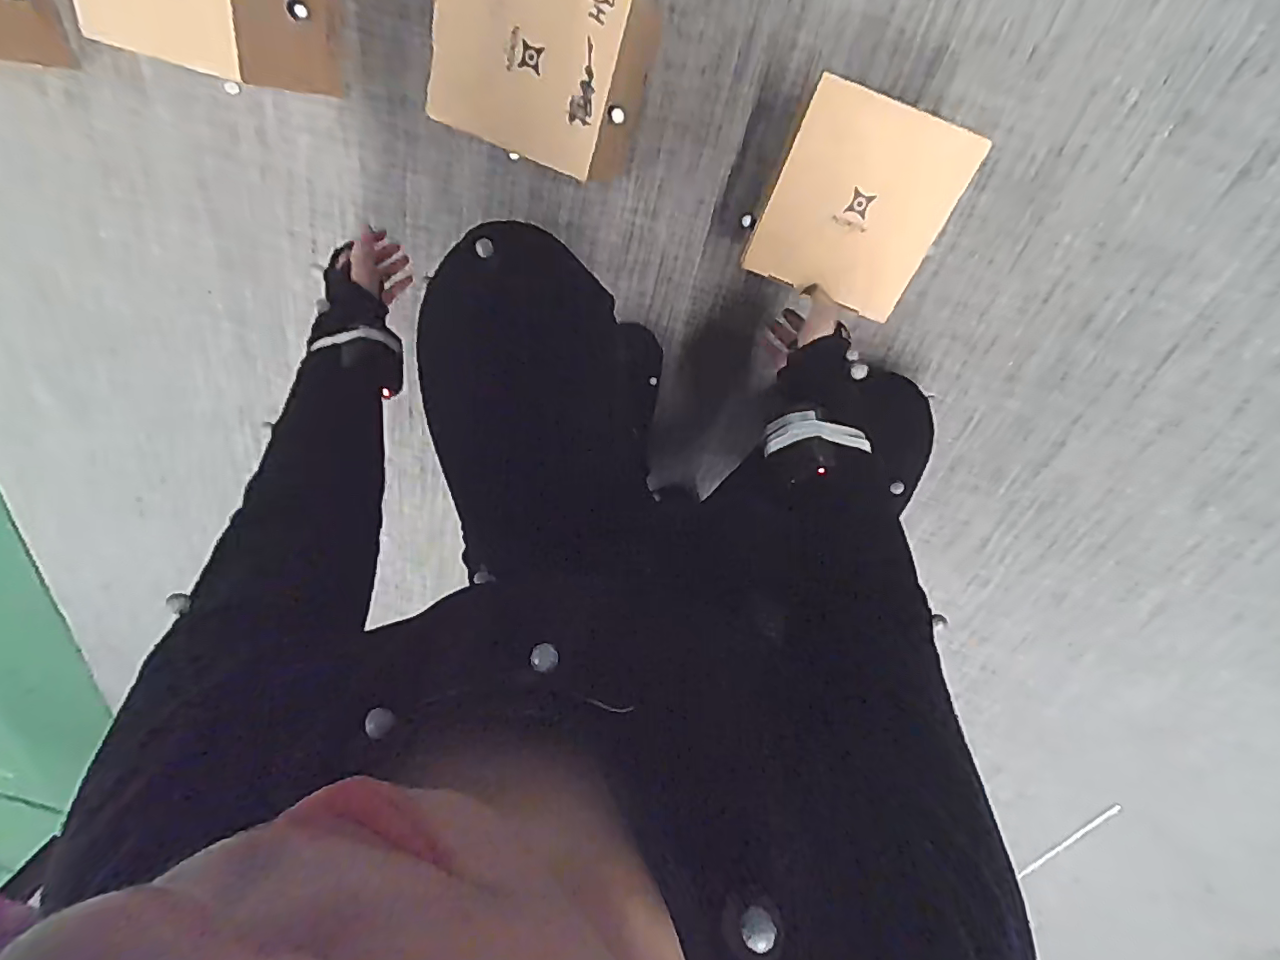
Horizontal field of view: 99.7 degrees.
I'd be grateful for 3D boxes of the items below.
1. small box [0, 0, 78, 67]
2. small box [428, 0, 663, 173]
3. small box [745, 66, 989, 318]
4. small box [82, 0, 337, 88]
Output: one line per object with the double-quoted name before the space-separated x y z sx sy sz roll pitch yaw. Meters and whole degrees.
"small box" -0.843 -0.596 0.630 0.179 0.176 0.168 7 122 7
"small box" -0.092 -0.443 0.569 0.179 0.176 0.168 22 123 -2
"small box" 0.222 -0.308 0.589 0.168 0.176 0.179 21 123 -2
"small box" -0.452 -0.544 0.581 0.179 0.176 0.168 18 122 1
